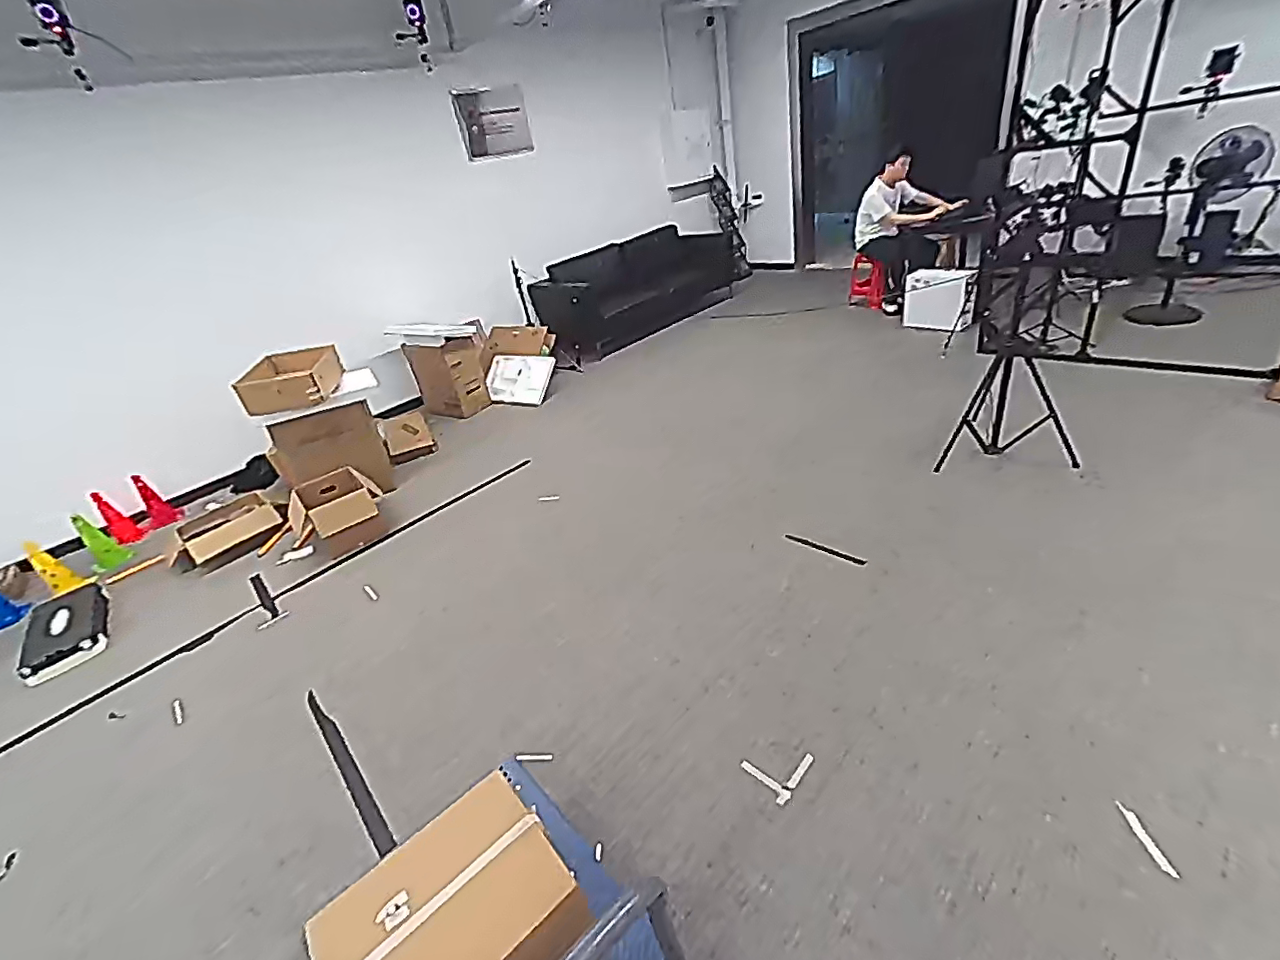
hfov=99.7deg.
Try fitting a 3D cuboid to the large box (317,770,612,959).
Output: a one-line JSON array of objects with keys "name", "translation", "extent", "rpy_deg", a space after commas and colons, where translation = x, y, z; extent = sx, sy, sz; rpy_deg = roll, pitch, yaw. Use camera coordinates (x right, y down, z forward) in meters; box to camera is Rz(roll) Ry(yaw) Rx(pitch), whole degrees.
[{"name": "large box", "translation": [-0.322, 0.891, 1.059], "extent": [0.408, 0.320, 0.320], "rpy_deg": [-32, 35, -29]}]
